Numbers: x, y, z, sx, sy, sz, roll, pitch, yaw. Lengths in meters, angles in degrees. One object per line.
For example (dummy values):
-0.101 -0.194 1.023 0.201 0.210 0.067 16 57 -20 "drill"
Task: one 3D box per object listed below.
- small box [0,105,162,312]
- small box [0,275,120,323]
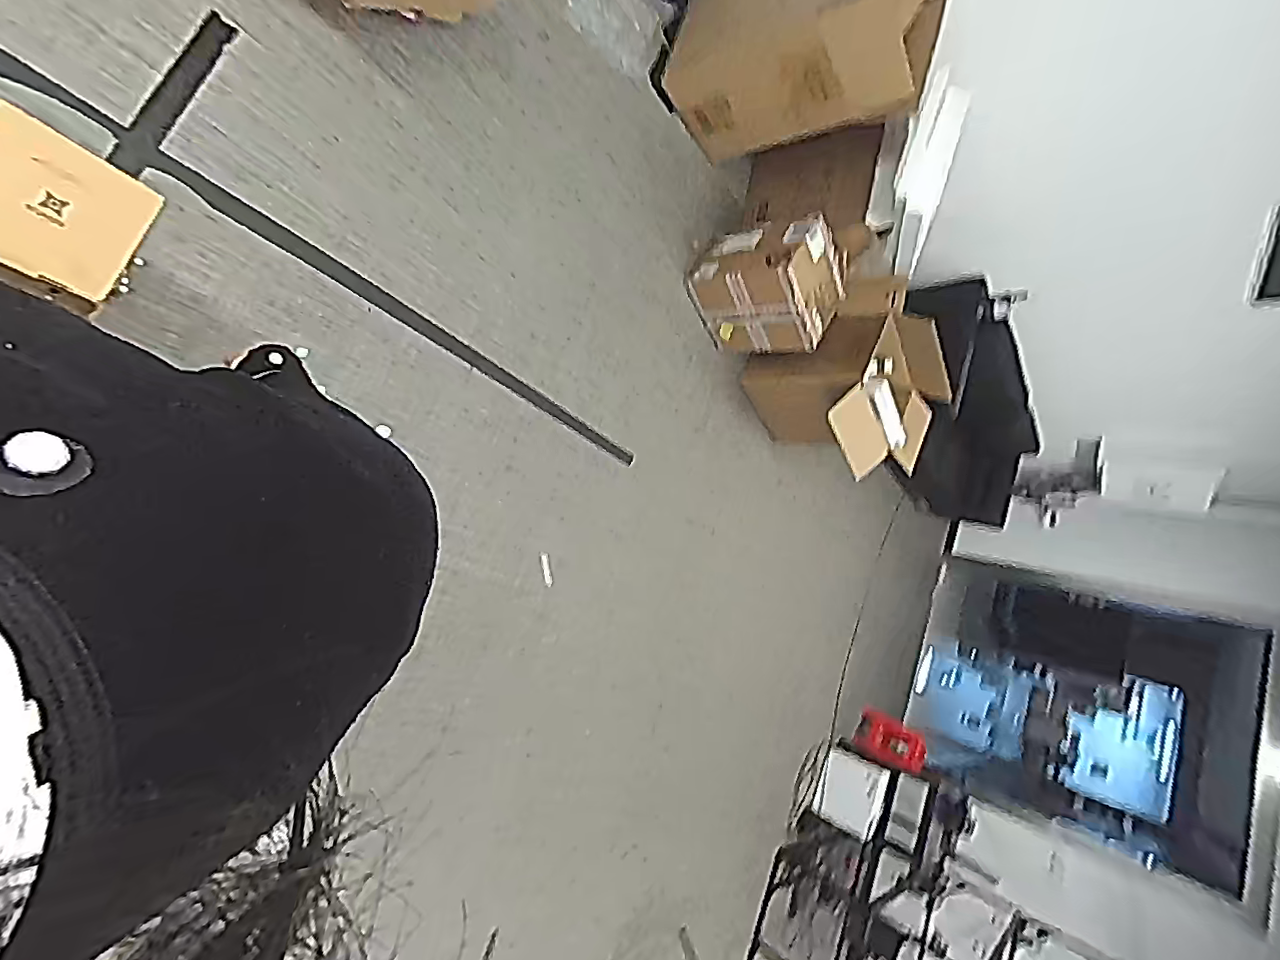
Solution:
-0.801 -0.348 0.736 0.168 0.176 0.179 32 73 -46 "small box"
-0.921 -0.367 0.844 0.168 0.176 0.179 33 74 -45 "small box"
